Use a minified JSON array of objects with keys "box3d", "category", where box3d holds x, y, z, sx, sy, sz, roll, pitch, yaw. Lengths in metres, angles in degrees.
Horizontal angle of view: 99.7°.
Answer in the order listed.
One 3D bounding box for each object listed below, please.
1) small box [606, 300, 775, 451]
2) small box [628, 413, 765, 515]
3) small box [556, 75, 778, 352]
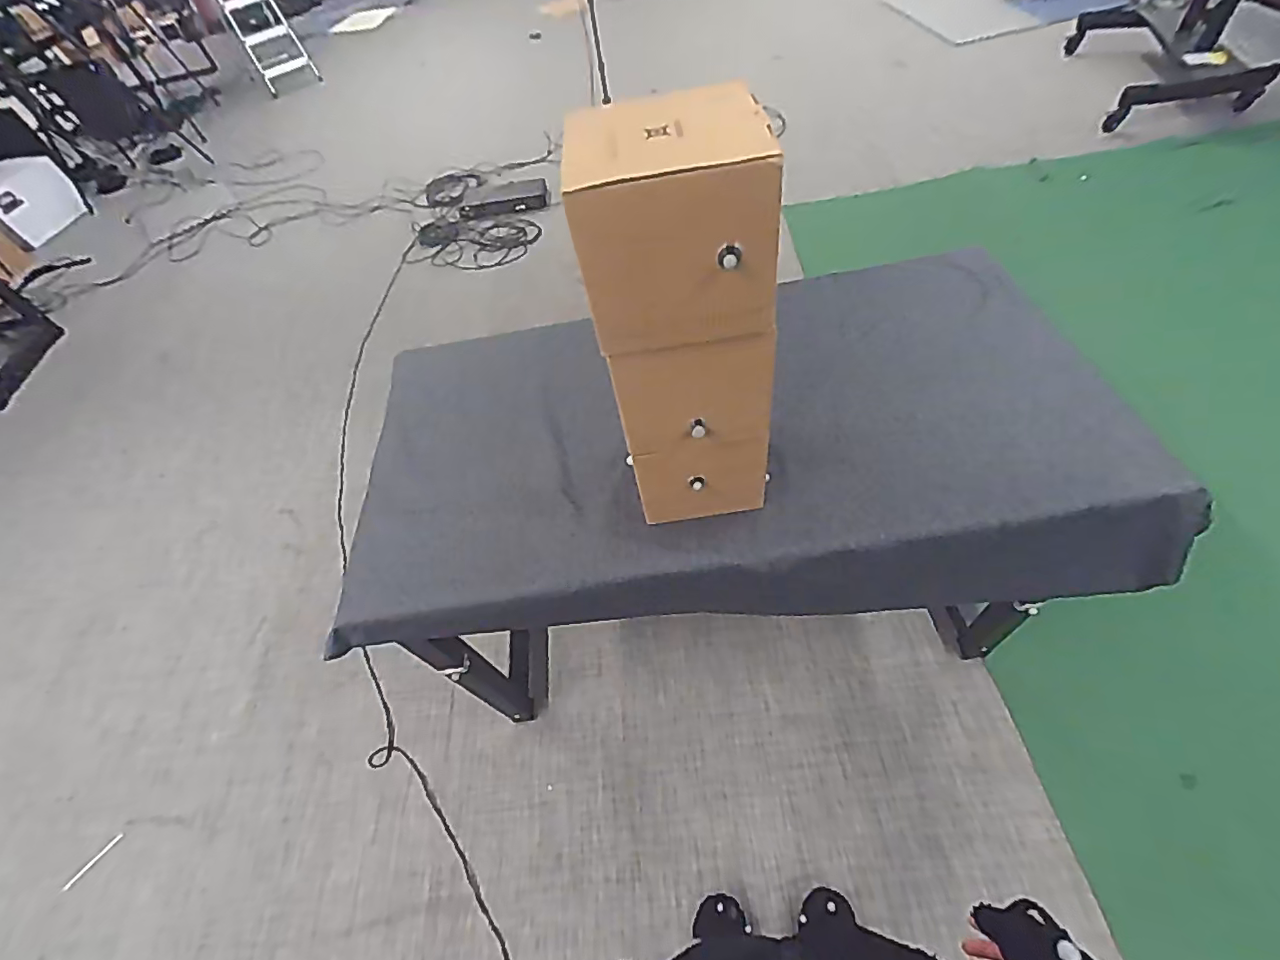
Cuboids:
[{"box3d":[0.054,-0.158,0.659,0.179,0.176,0.168,-11,55,3],"category":"small box"},{"box3d":[0.077,-0.068,0.790,0.179,0.176,0.168,-10,53,4],"category":"small box"},{"box3d":[0.027,-0.250,0.525,0.179,0.176,0.168,-9,52,5],"category":"small box"}]
